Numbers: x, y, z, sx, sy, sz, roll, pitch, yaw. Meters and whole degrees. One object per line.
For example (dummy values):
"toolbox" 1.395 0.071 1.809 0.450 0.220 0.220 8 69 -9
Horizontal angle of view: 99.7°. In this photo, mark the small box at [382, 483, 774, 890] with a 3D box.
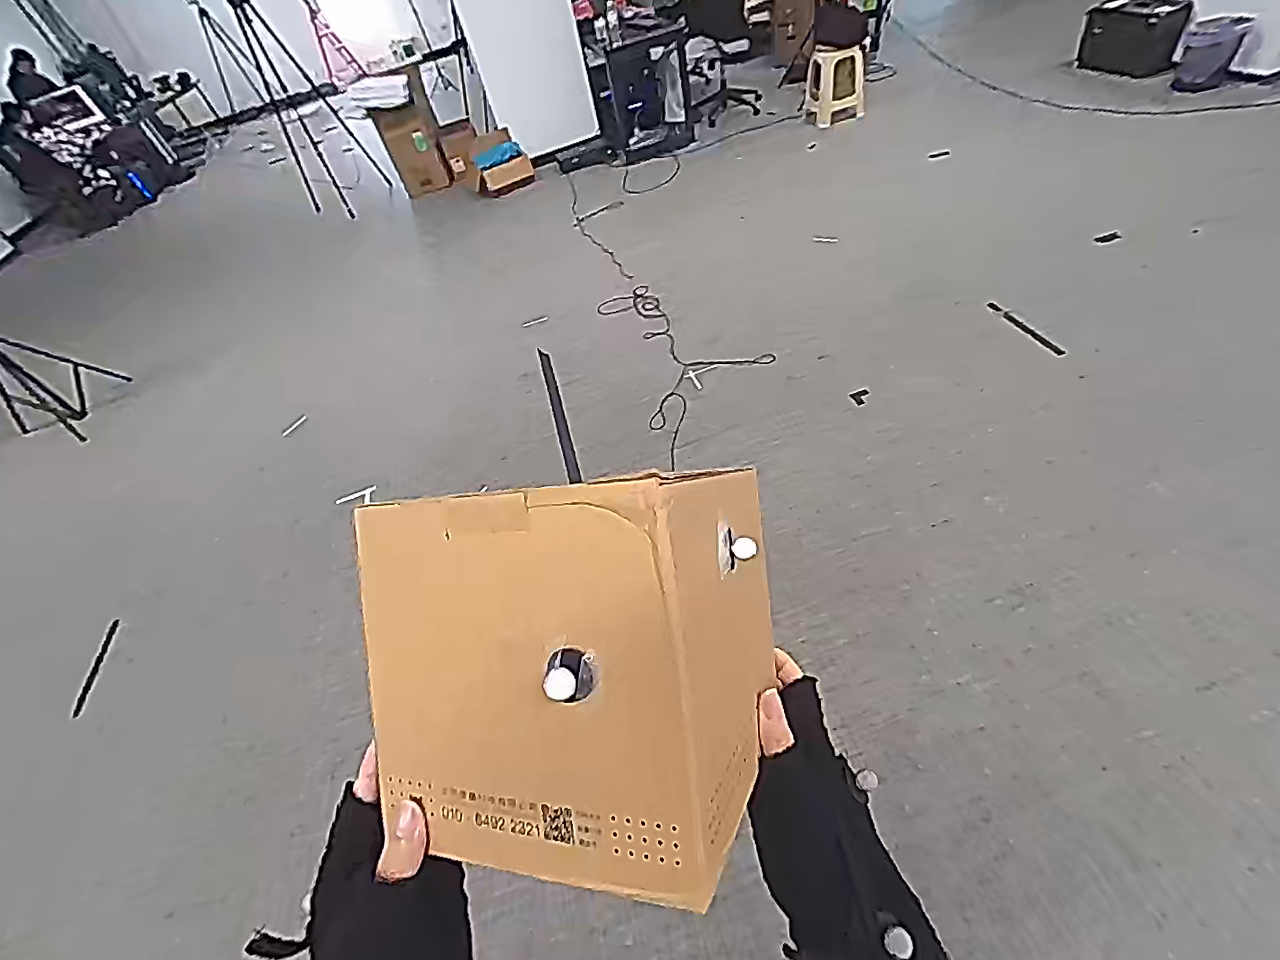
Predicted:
"small box" -0.020 0.097 0.327 0.168 0.179 0.176 -6 89 24
